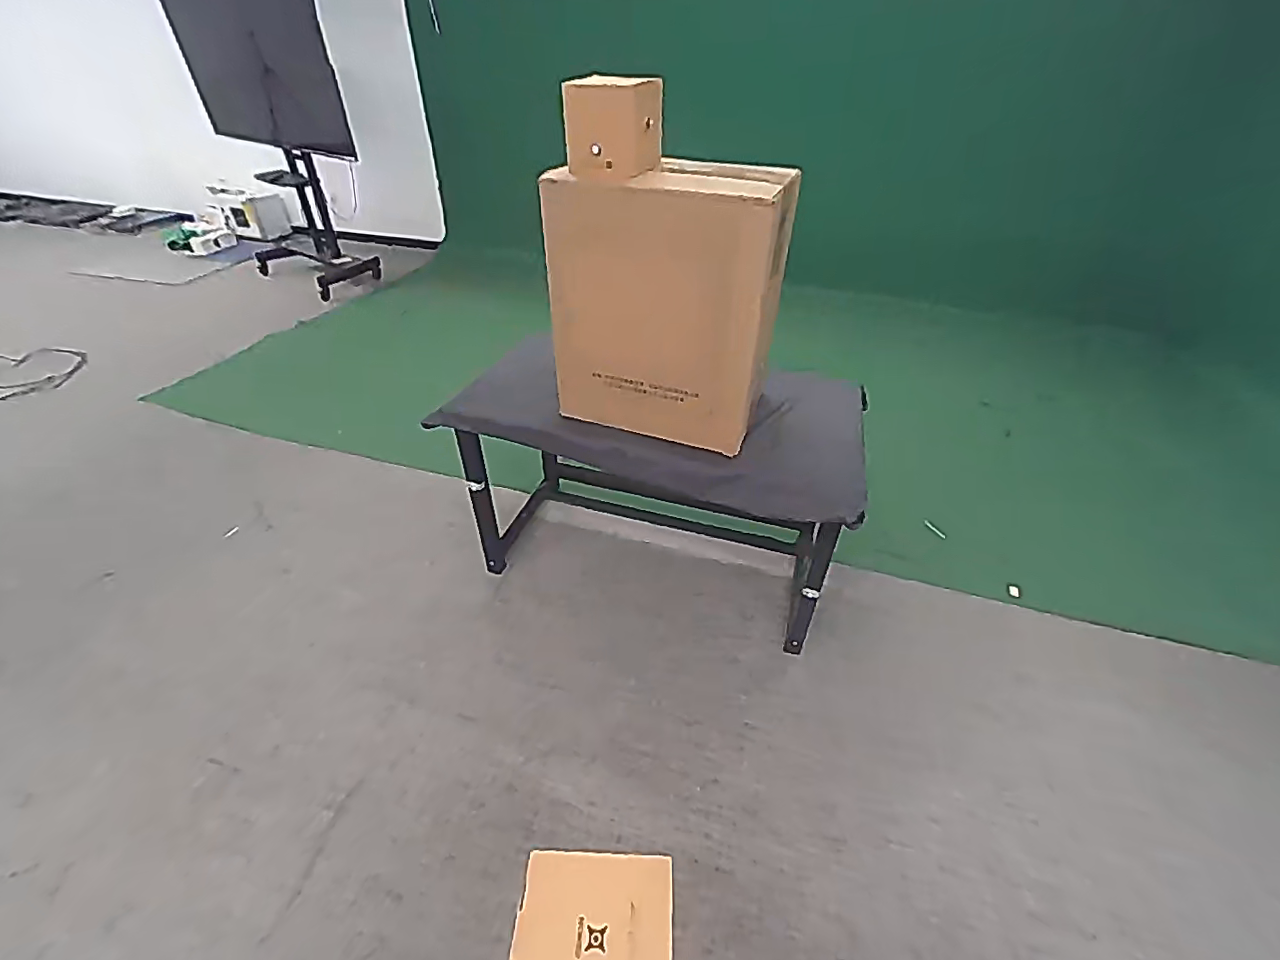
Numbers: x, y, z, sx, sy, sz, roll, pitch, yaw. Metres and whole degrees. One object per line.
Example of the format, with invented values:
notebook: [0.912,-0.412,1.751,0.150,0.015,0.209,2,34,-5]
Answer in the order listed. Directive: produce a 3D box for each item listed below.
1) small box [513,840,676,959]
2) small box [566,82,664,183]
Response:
small box: [-0.047,0.557,0.645,0.179,0.176,0.168,1,38,1]
small box: [-0.053,-0.793,1.228,0.168,0.176,0.179,14,43,17]
